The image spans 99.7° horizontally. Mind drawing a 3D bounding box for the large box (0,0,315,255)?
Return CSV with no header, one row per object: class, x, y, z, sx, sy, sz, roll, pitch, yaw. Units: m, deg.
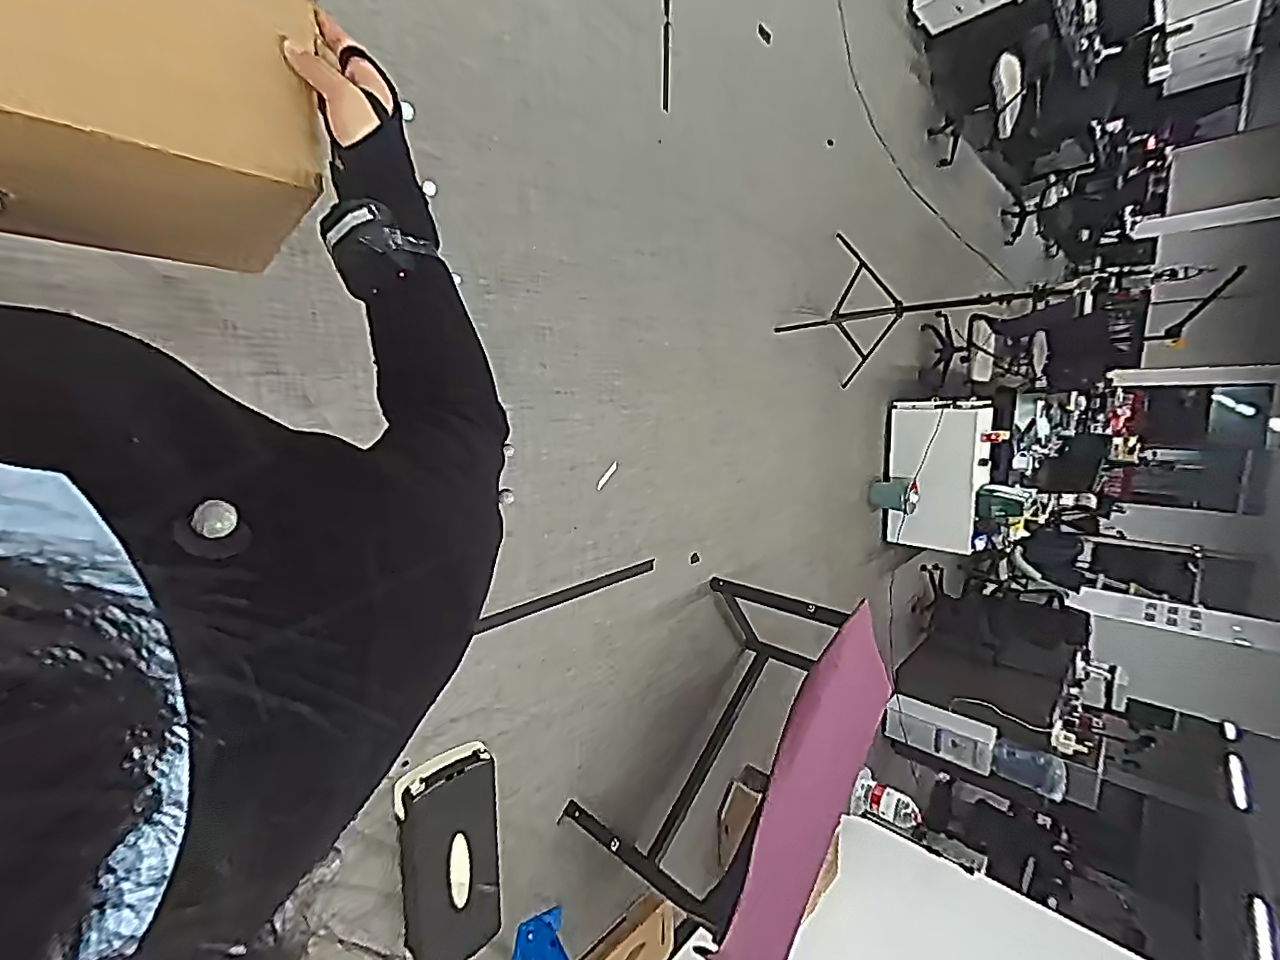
large box,-0.522,-0.397,0.416,0.408,0.320,0.320,-6,97,-43
